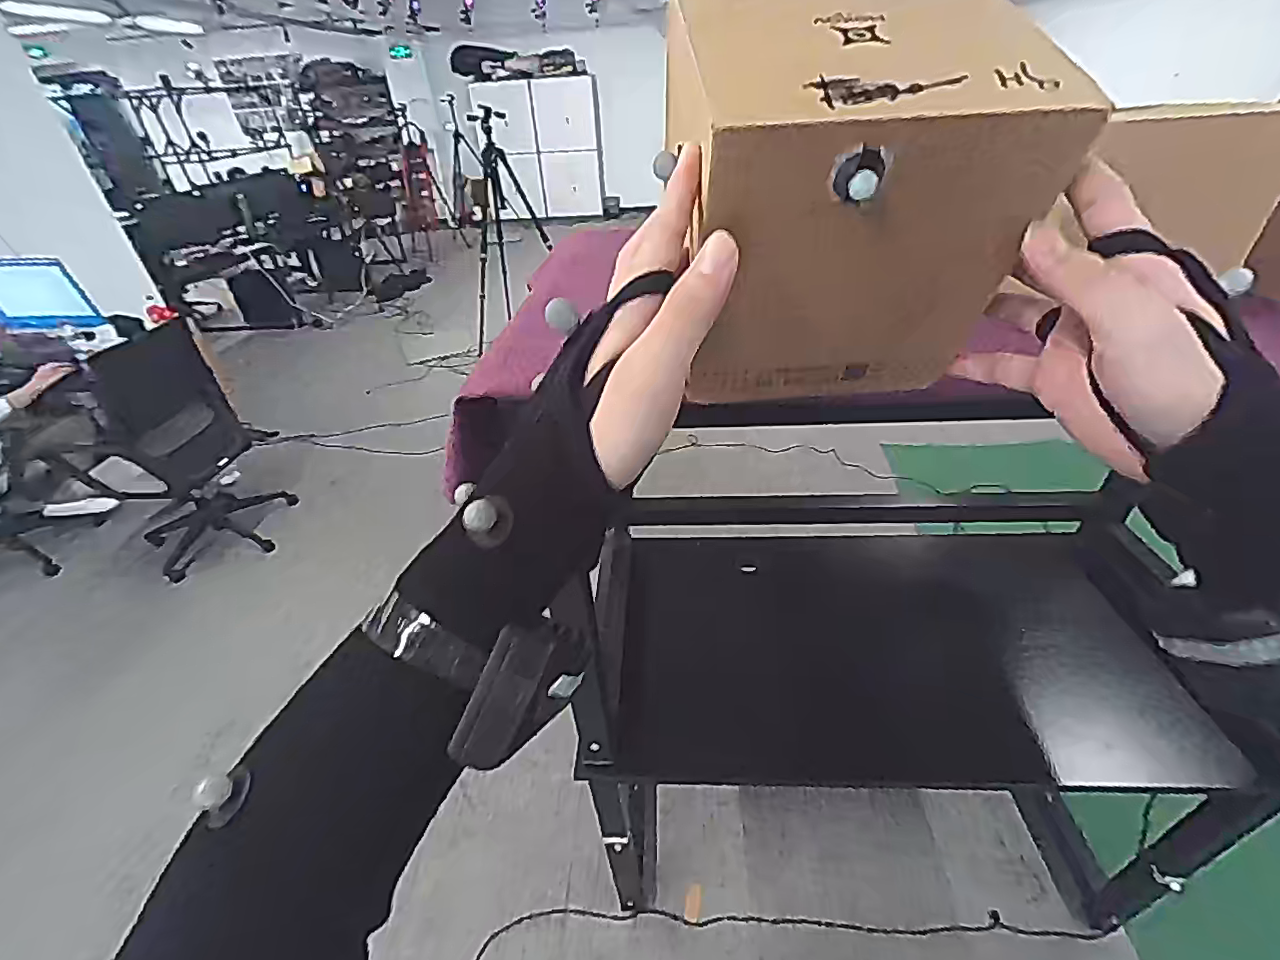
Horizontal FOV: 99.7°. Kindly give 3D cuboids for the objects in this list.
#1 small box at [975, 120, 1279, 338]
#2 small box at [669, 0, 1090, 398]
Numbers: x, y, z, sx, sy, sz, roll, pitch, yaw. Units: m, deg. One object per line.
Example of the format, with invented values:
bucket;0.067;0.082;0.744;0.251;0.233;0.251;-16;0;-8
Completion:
small box;0.438;-0.251;0.535;0.168;0.176;0.179;-1;35;4
small box;0.109;-0.174;0.344;0.168;0.176;0.179;-4;57;-2
